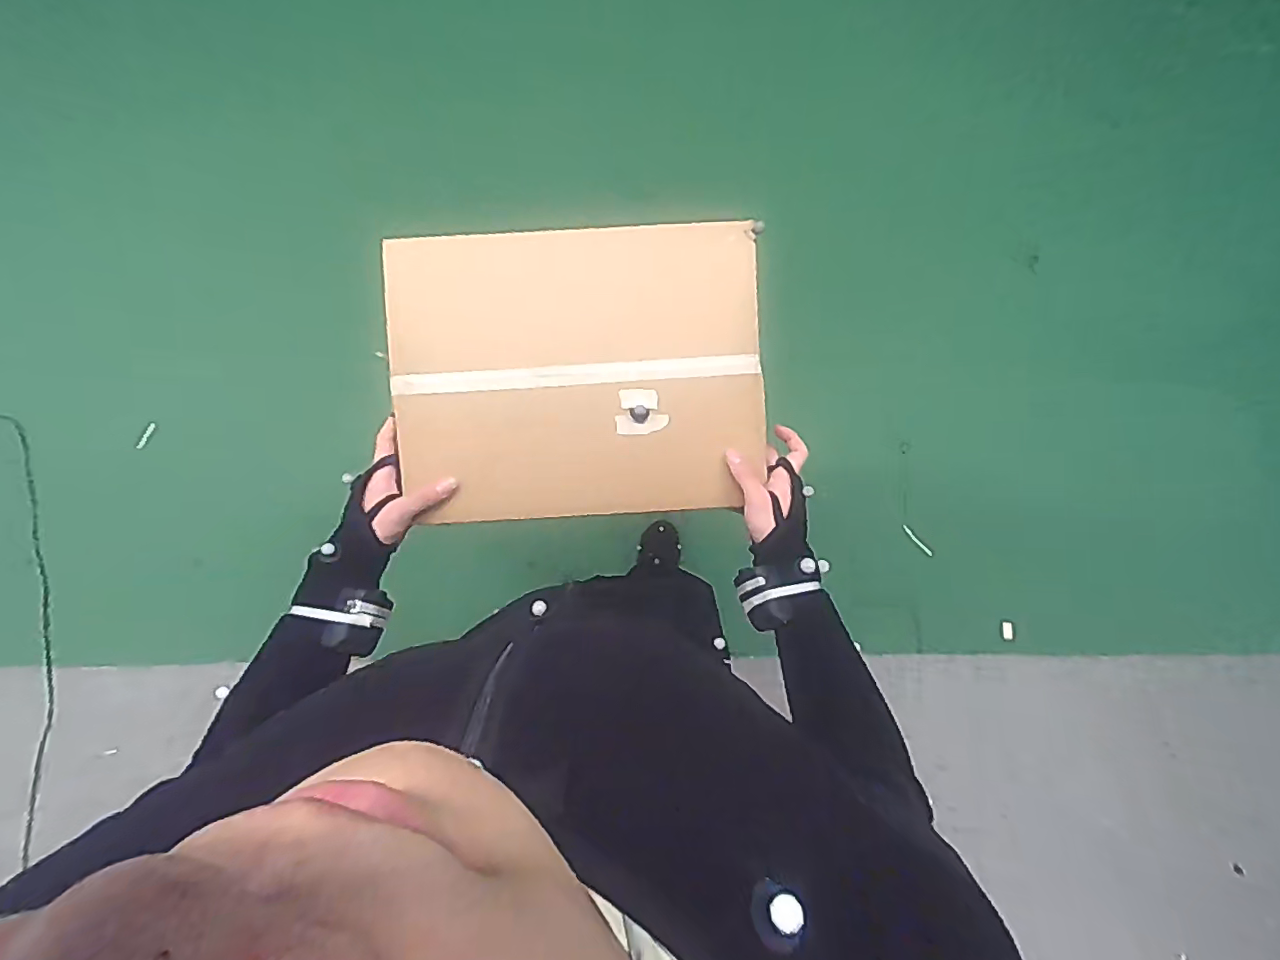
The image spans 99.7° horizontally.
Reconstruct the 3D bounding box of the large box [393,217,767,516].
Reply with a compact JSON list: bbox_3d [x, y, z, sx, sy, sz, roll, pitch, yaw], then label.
[{"bbox_3d":[-0.069,-0.132,0.751,0.408,0.320,0.320,-4,94,-1],"label":"large box"}]
